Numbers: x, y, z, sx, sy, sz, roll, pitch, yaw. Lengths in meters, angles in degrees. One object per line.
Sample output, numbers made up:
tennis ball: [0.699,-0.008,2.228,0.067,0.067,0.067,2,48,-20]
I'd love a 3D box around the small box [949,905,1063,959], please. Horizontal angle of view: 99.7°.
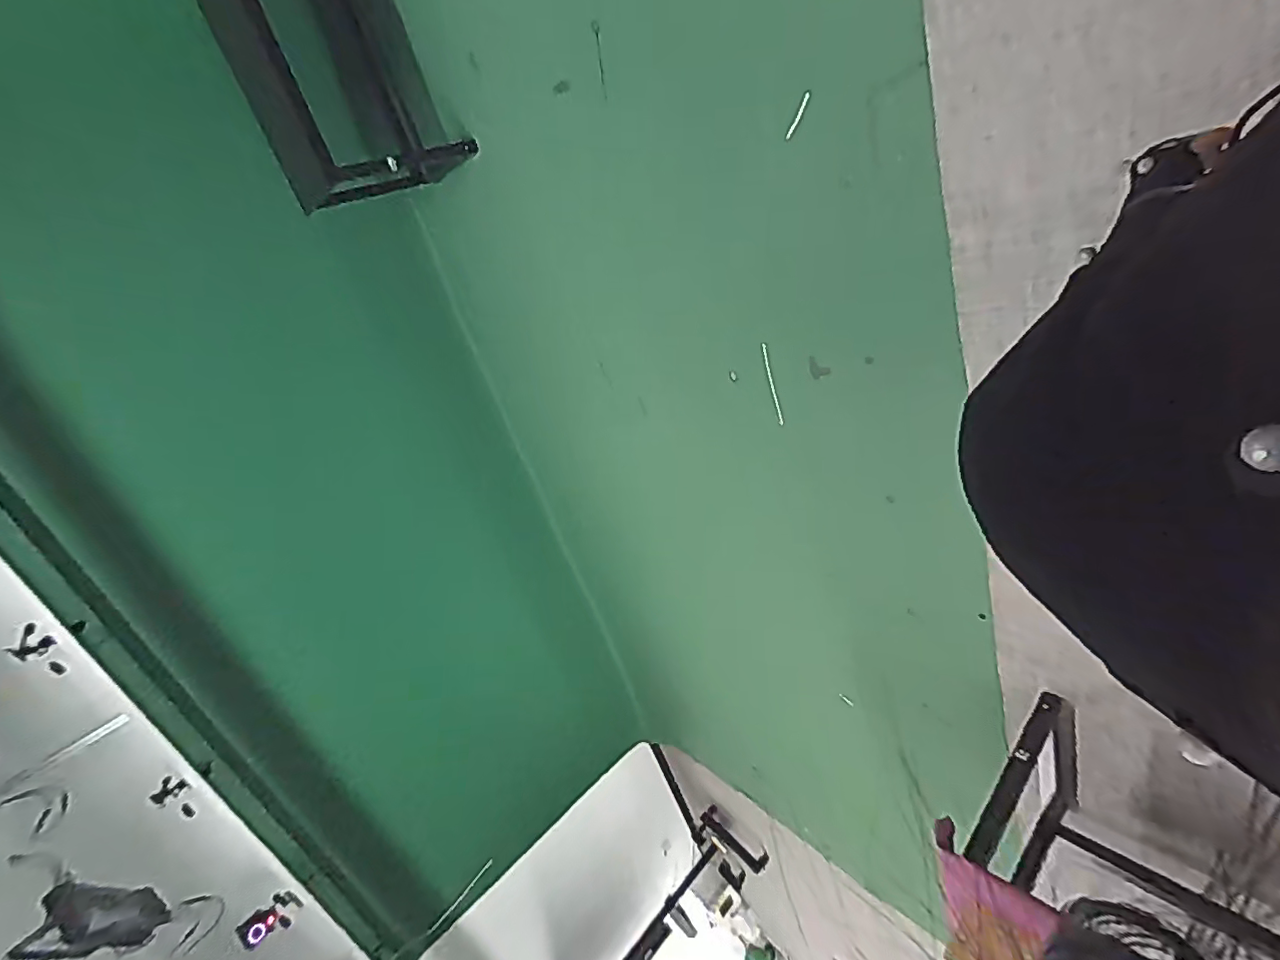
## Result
small box: [0.867,1.160,1.273,0.179,0.176,0.168,5,122,53]
